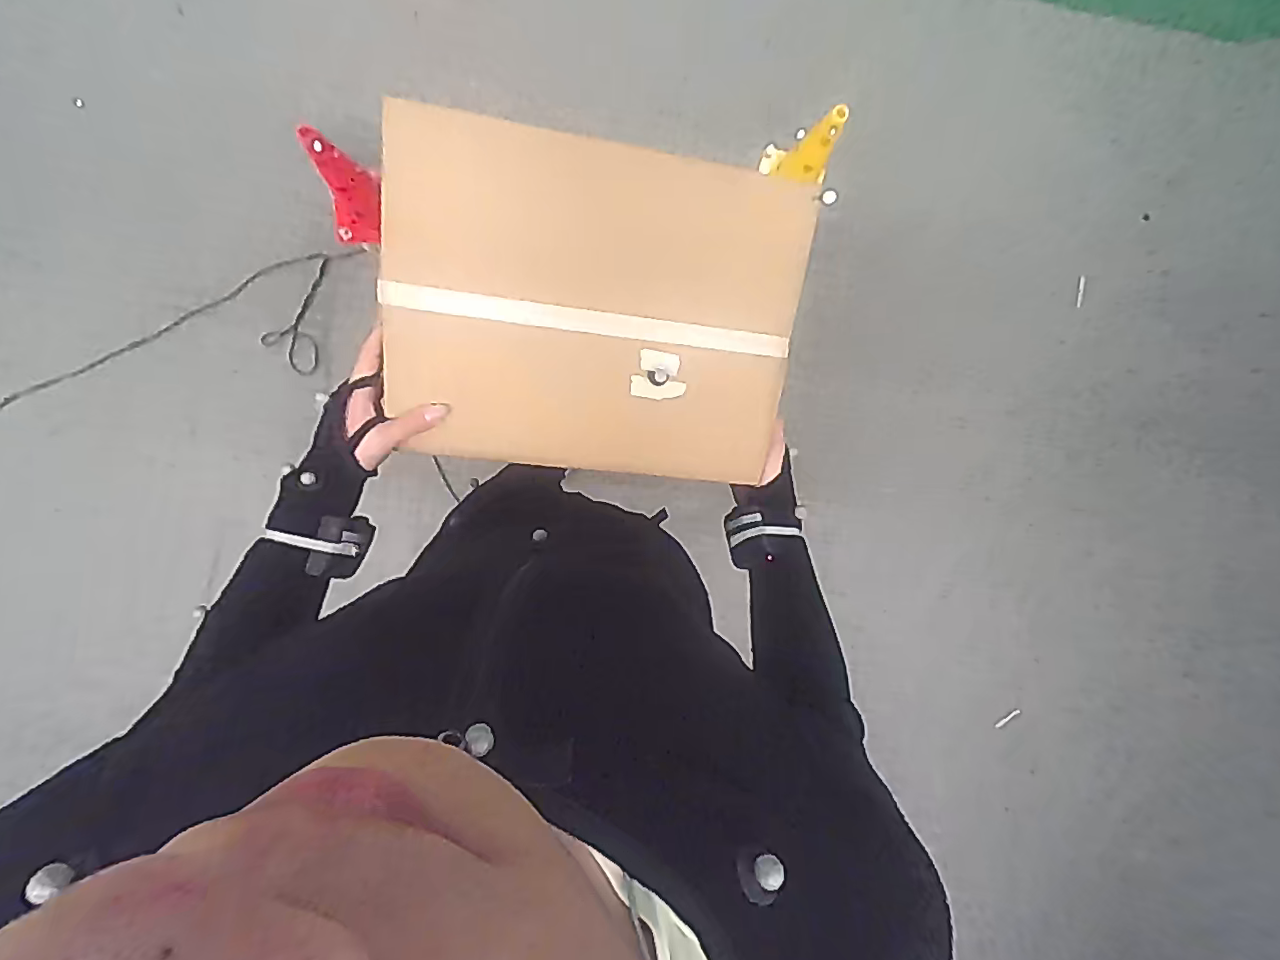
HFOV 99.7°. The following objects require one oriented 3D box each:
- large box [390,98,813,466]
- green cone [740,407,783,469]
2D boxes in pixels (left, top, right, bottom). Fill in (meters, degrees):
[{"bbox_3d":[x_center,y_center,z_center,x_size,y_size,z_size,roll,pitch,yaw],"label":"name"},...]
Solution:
[{"bbox_3d":[-0.064,-0.220,0.684,0.408,0.320,0.320,5,109,-11],"label":"large box"},{"bbox_3d":[0.309,-0.144,1.478,0.200,0.368,0.202,13,90,-6],"label":"green cone"}]
